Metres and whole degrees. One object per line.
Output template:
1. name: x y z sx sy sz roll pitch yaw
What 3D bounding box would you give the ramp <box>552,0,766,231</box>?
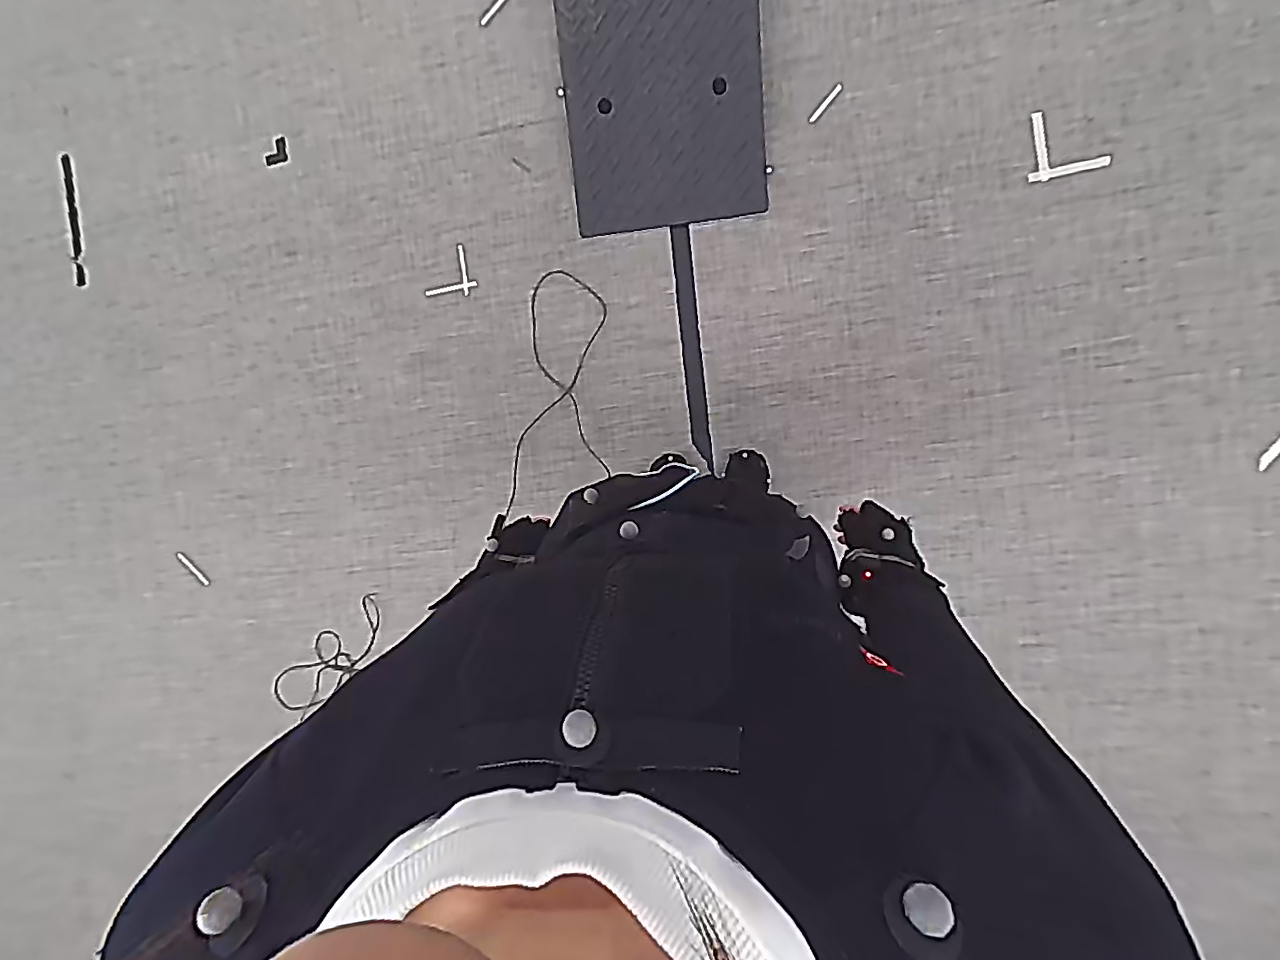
1. ramp: 0.031 -1.159 1.286 0.509 0.206 0.991 -6 93 8
